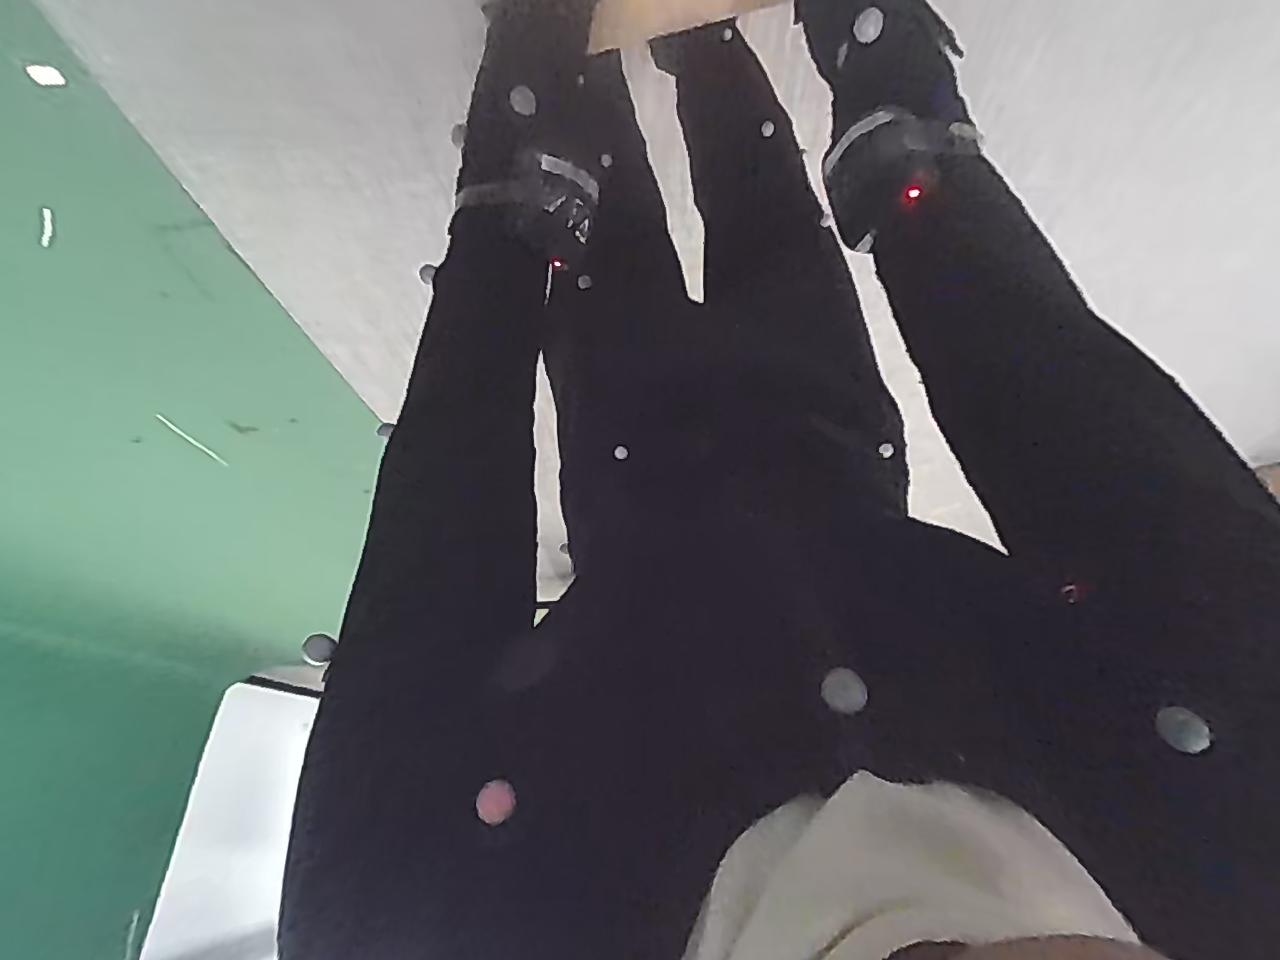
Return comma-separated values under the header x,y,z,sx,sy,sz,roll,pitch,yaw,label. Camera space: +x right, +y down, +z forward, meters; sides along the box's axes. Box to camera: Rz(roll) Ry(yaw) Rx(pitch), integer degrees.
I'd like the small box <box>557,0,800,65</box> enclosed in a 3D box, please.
x,y,z,sx,sy,sz,roll,pitch,yaw,label
0.011,-0.439,0.385,0.179,0.176,0.168,-10,143,4,small box
